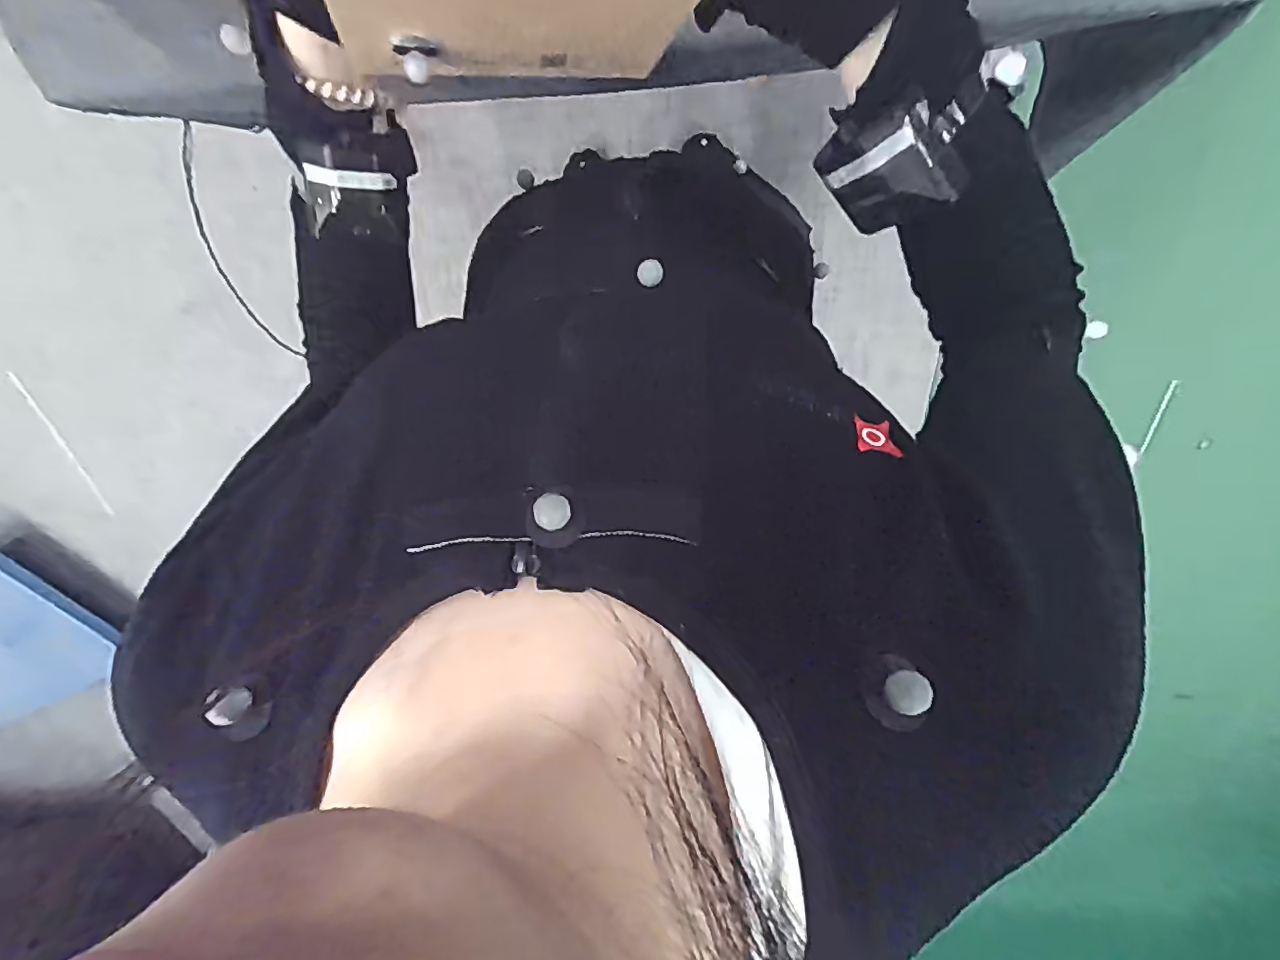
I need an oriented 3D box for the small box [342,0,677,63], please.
[{"bbox_3d":[-0.056,-0.296,0.207,0.168,0.176,0.179,-10,106,-15],"label":"small box"}]
